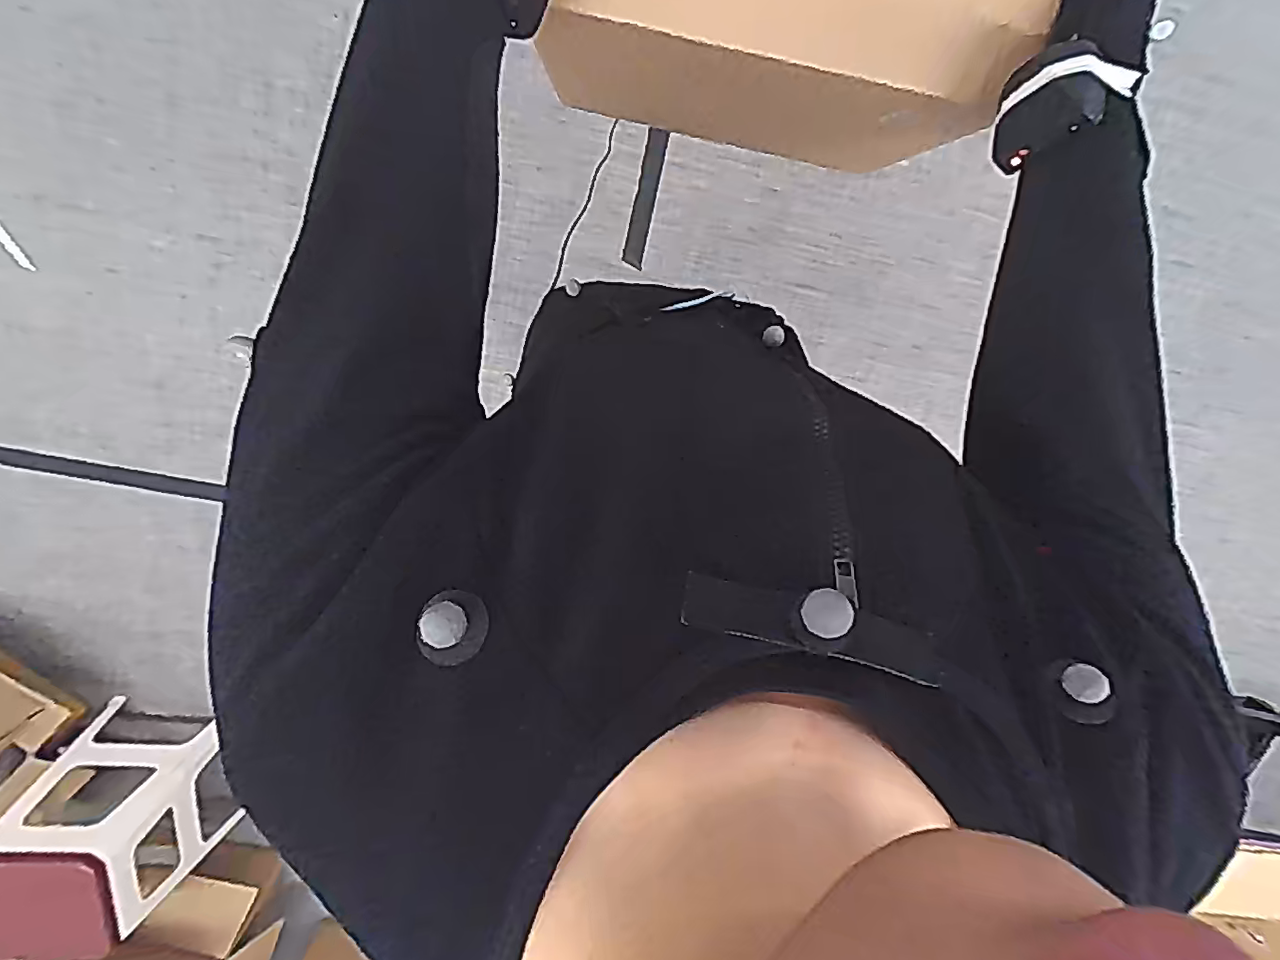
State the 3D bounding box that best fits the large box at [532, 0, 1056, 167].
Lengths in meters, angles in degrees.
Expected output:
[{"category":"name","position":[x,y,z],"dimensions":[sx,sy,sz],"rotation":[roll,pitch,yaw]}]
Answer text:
[{"category":"large box","position":[0.131,-0.523,0.501],"dimensions":[0.408,0.320,0.320],"rotation":[10,112,-5]}]
